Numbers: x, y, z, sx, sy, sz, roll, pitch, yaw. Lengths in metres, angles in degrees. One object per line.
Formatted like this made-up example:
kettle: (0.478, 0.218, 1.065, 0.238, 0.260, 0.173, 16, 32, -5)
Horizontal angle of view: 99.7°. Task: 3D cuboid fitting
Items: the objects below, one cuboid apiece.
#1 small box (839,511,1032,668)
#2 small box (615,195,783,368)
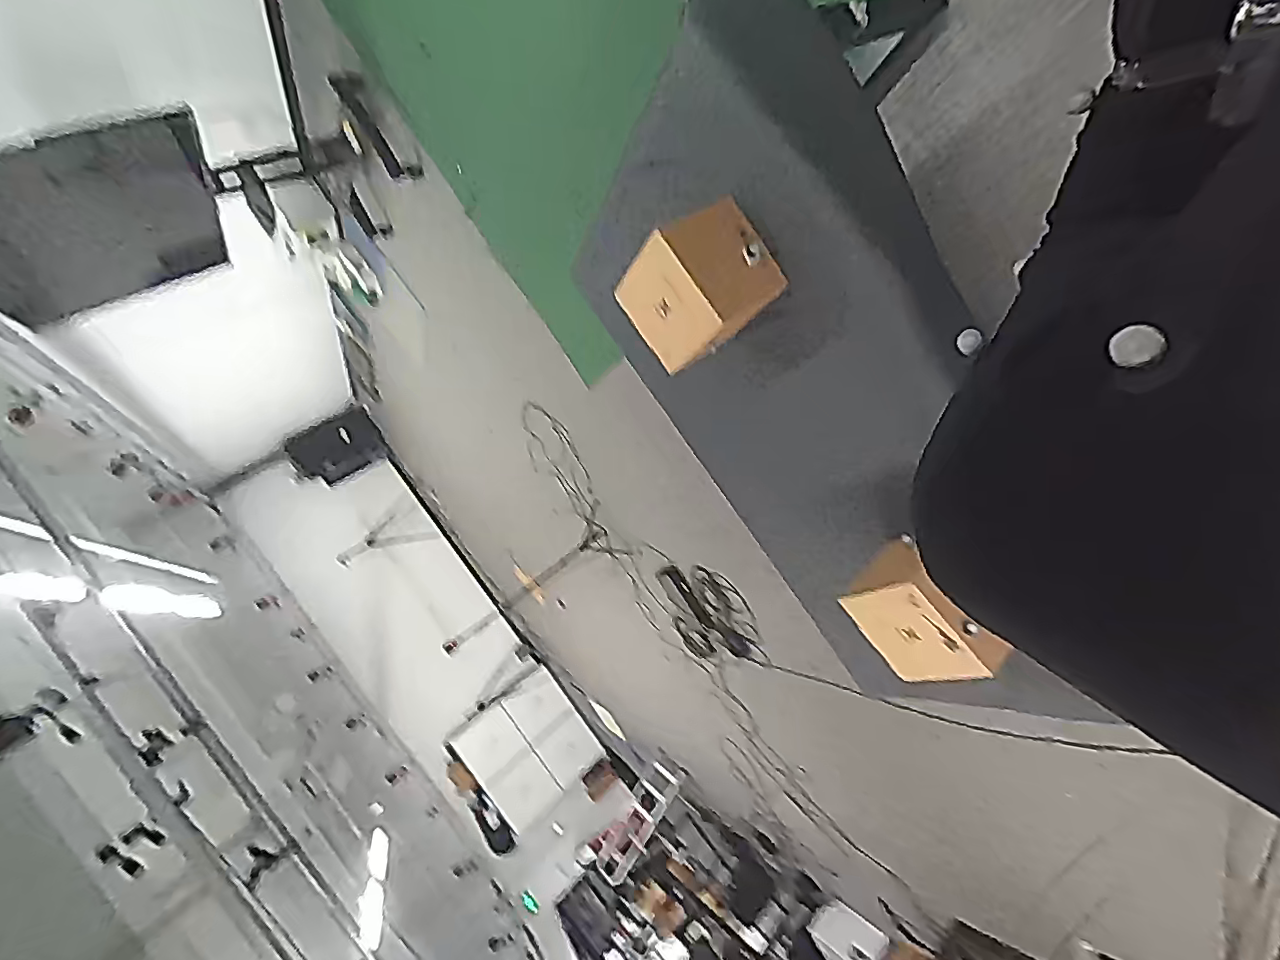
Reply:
small box: (0.466, 0.176, 0.861, 0.168, 0.176, 0.179, 49, 155, 6)
small box: (0.094, -0.317, 0.874, 0.168, 0.176, 0.179, 52, 153, -2)
